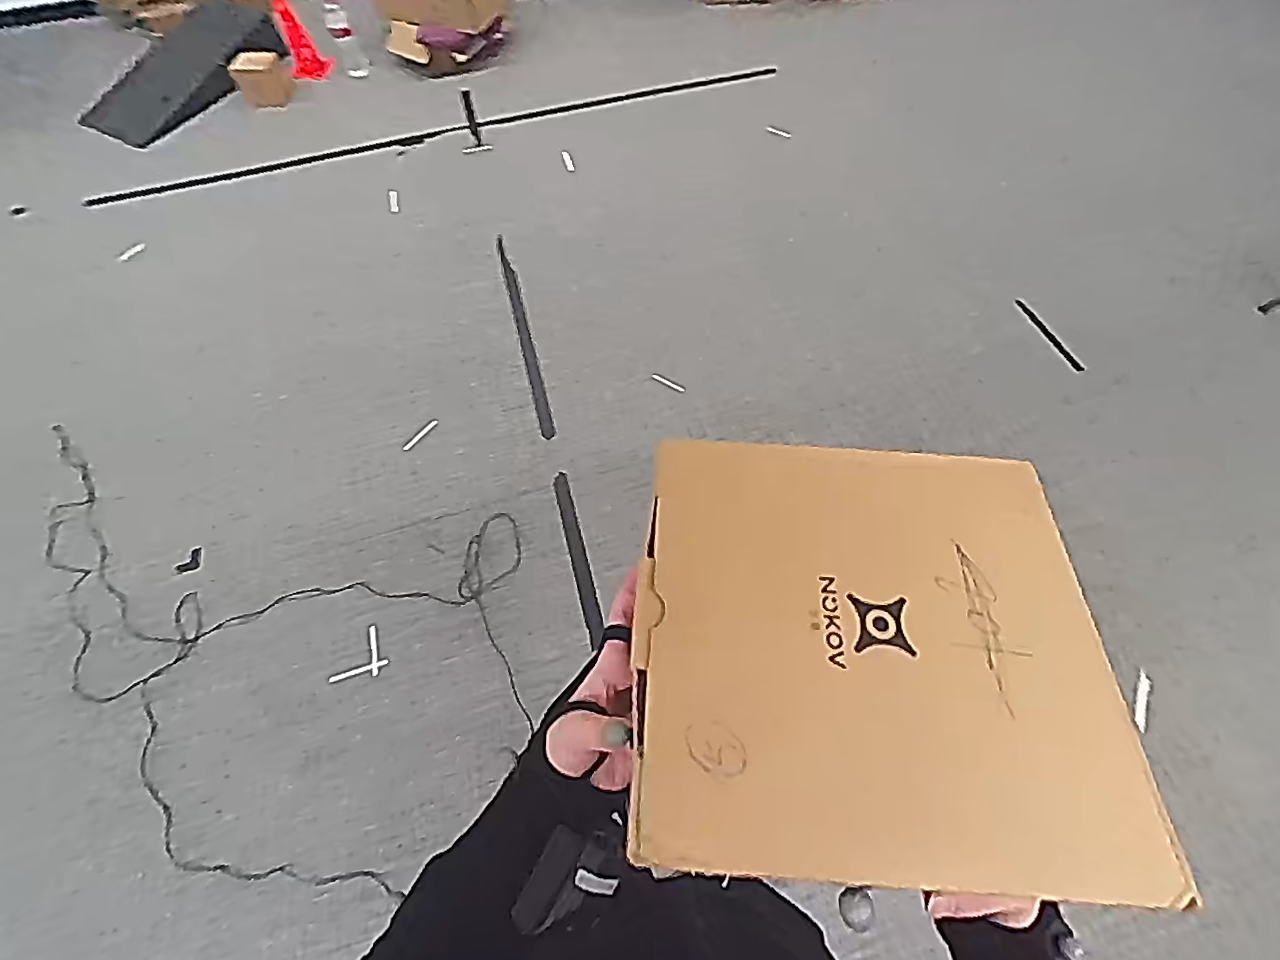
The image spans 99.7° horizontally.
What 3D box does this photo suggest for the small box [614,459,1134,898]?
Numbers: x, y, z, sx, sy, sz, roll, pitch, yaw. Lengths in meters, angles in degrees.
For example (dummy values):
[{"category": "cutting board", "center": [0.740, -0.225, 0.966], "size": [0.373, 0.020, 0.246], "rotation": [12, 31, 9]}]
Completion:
[{"category": "small box", "center": [0.081, 0.106, 0.289], "size": [0.179, 0.176, 0.168], "rotation": [4, 58, 0]}]
